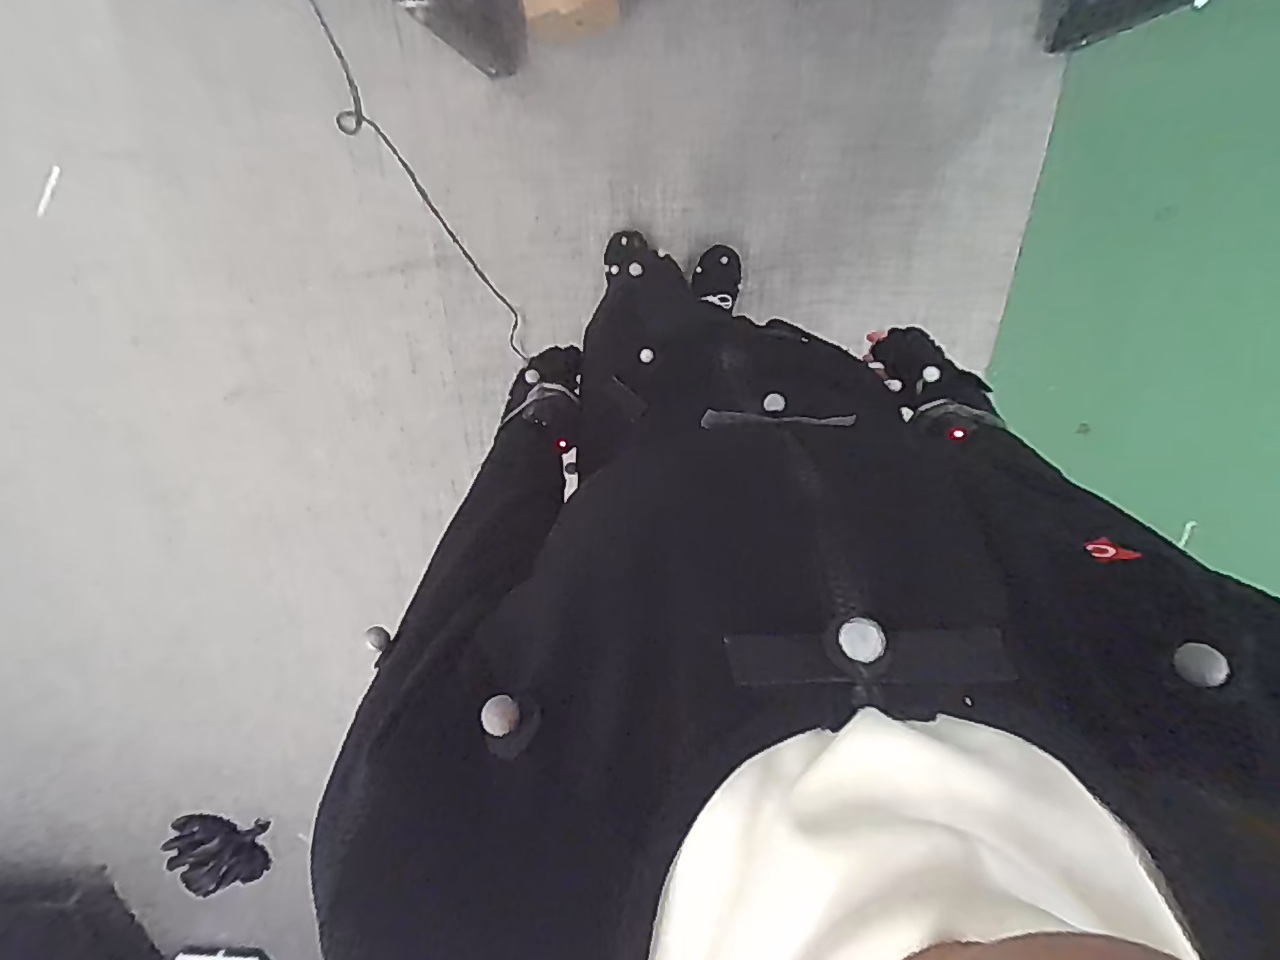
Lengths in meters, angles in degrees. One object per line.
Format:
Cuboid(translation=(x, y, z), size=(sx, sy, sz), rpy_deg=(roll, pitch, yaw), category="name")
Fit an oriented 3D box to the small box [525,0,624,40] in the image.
Cuboid(translation=(-0.127, -0.937, 0.985), size=(0.168, 0.176, 0.179), rpy_deg=(-9, 116, 6), category="small box")
